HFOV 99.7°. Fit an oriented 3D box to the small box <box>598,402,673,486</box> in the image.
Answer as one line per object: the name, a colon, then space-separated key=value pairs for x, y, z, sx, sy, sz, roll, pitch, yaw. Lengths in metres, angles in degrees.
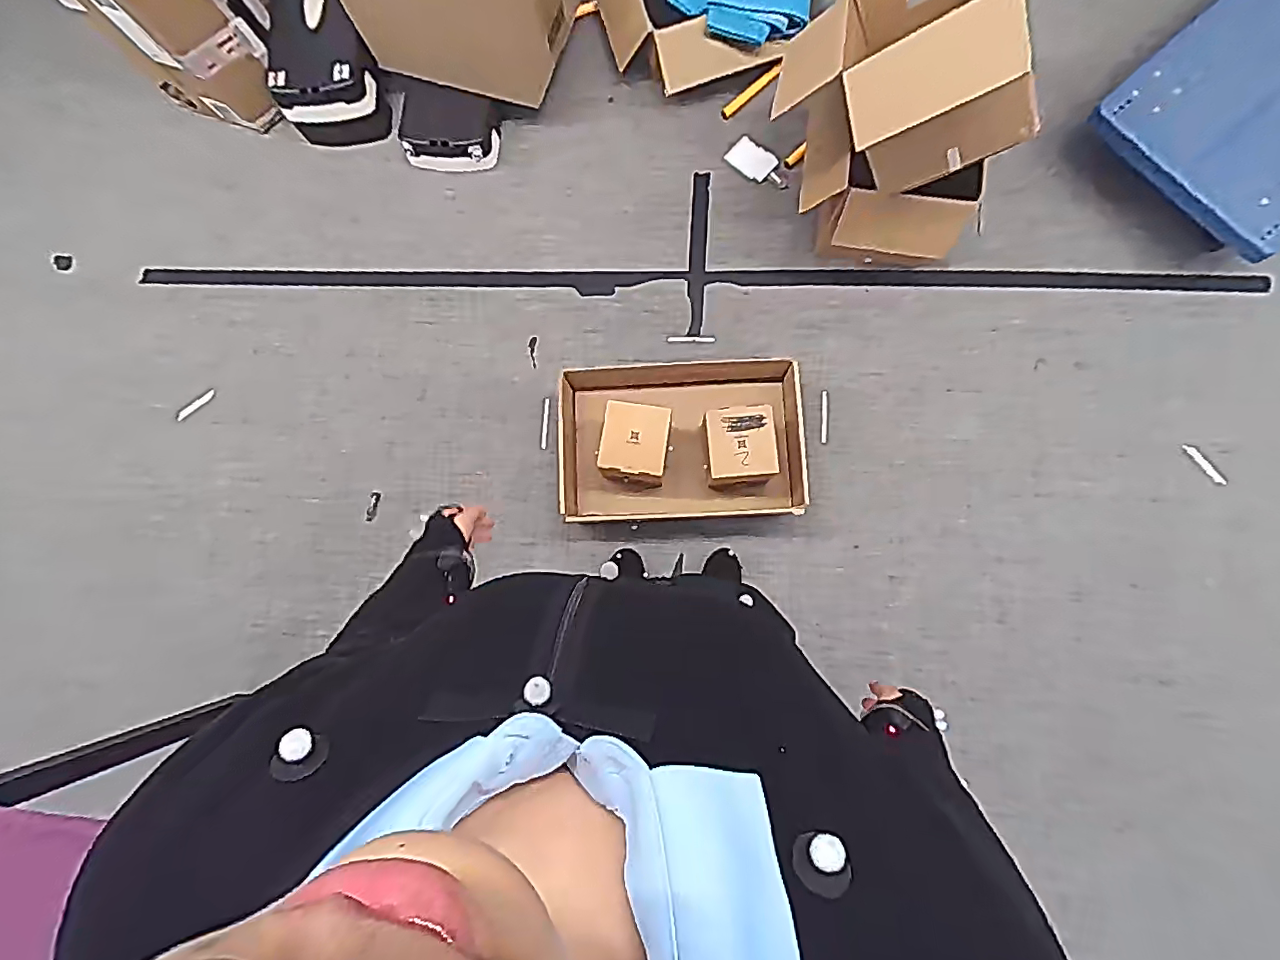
small box: x=-0.010 y=-0.089 z=1.421 sx=0.168 sy=0.176 sz=0.179 roll=8 pitch=83 yaw=3
